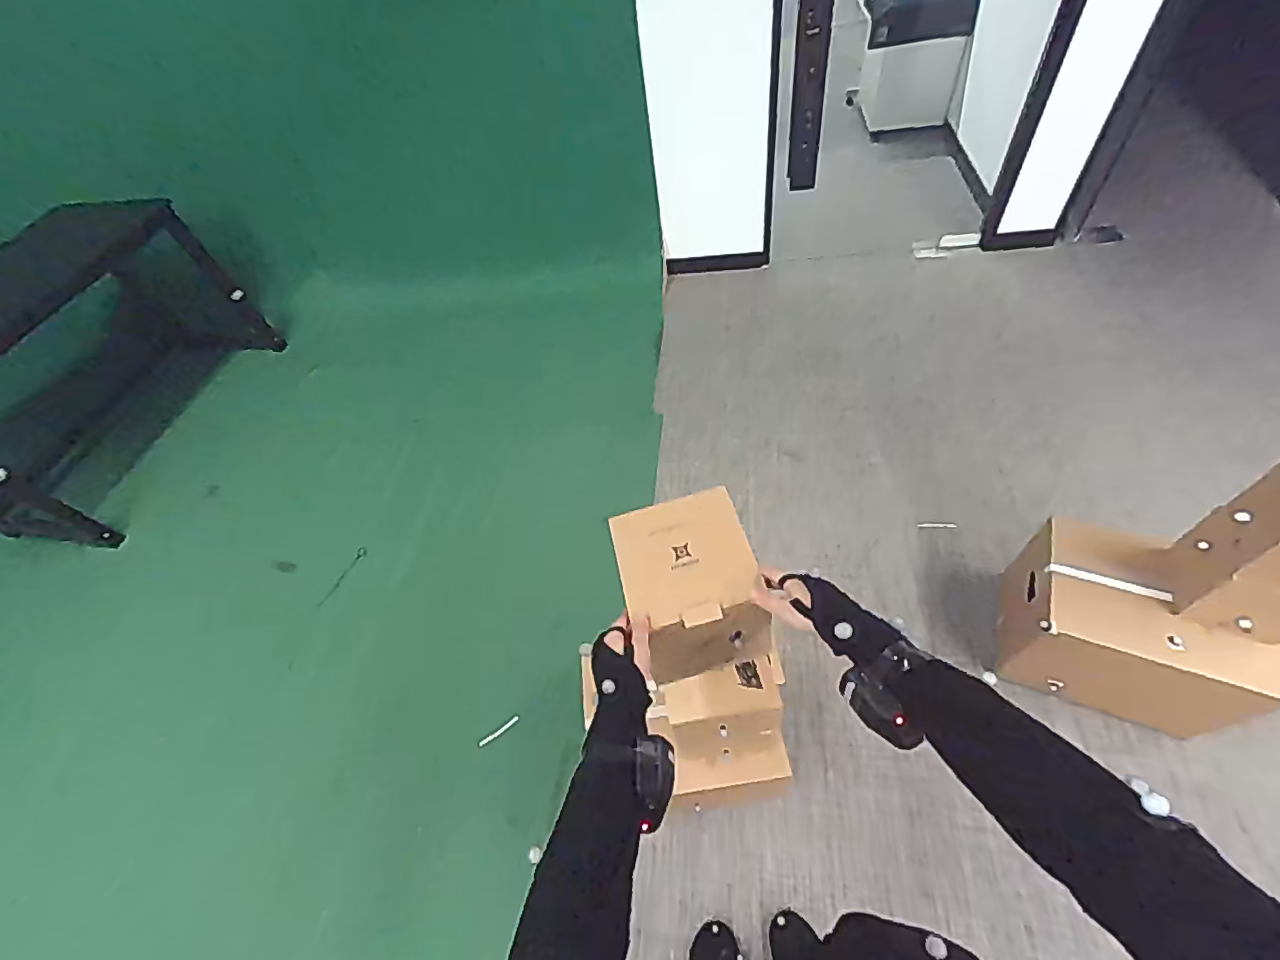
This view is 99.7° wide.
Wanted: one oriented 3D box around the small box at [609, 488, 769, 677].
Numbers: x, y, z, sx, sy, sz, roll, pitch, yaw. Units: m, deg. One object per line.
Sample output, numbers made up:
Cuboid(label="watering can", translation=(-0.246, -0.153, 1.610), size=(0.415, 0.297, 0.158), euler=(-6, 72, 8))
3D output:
Cuboid(label="small box", translation=(0.068, 0.144, 0.723), size=(0.168, 0.176, 0.179), euler=(-16, 48, 1))

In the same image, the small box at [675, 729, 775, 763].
Cuboid(label="small box", translation=(0.155, 0.441, 1.048), size=(0.179, 0.176, 0.168), euler=(-7, 52, 5))

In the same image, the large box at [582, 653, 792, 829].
Cuboid(label="large box", translation=(0.105, 0.591, 1.255), size=(0.408, 0.320, 0.320), euler=(-12, 51, 3))

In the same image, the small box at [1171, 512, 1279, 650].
Cuboid(label="small box", translation=(1.185, 0.197, 1.050), size=(0.168, 0.176, 0.179), euler=(16, 56, 22))

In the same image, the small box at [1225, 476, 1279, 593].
Cuboid(label="small box", translation=(1.171, 0.098, 0.922), size=(0.179, 0.176, 0.168), euler=(17, 56, 23))

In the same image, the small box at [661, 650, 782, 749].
Cuboid(label="small box", translation=(0.131, 0.343, 0.918), size=(0.179, 0.176, 0.168), euler=(-11, 52, 4))
